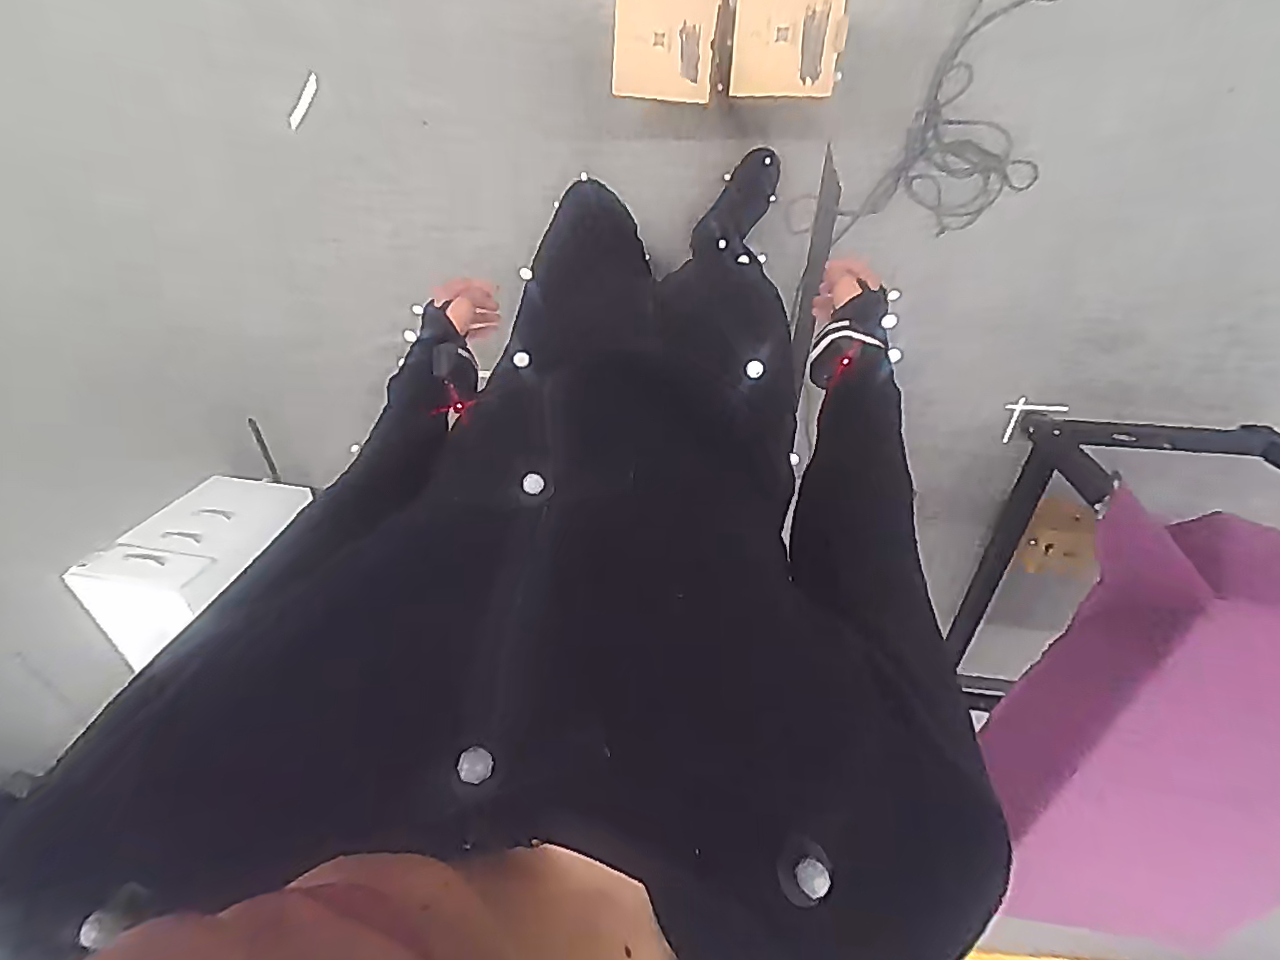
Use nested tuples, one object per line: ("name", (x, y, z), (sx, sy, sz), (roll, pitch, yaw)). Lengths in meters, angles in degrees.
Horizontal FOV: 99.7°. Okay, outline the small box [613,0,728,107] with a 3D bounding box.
("small box", (0.059, -0.777, 0.969), (0.179, 0.176, 0.168), (10, 124, 7))
